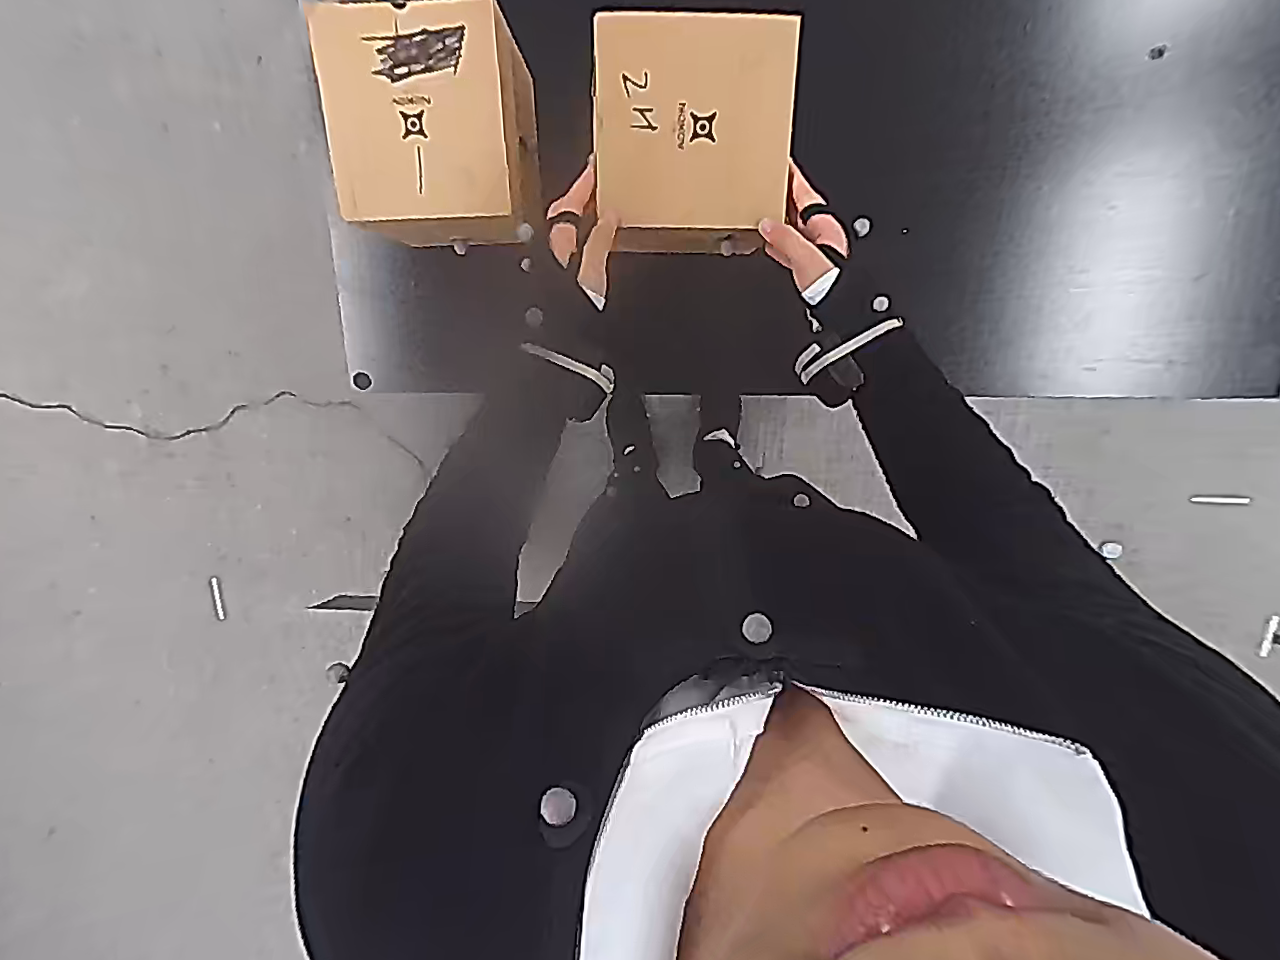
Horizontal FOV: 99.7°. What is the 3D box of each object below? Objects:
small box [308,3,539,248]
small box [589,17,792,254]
[{"bbox_3d":[-0.207,-0.353,0.571,0.168,0.176,0.179,-2,107,1],"label":"small box"},{"bbox_3d":[0.041,-0.333,0.556,0.179,0.176,0.168,1,106,1],"label":"small box"}]
